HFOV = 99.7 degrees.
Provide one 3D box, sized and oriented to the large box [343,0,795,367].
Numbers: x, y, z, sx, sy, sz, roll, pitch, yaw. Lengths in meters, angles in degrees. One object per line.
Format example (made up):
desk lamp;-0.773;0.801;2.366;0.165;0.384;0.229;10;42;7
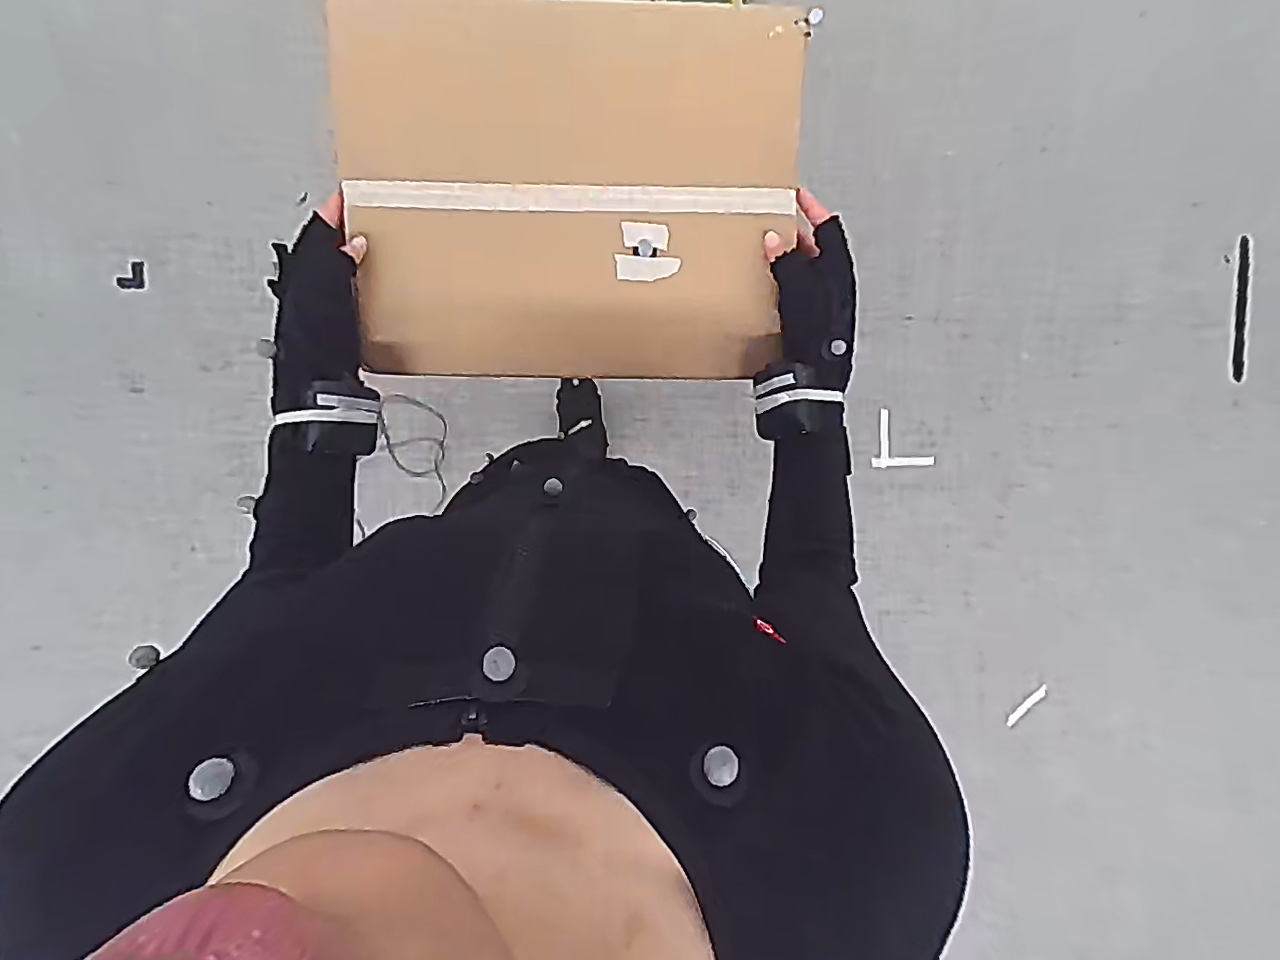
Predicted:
large box;-0.067;-0.299;0.647;0.408;0.320;0.320;0;102;-3
